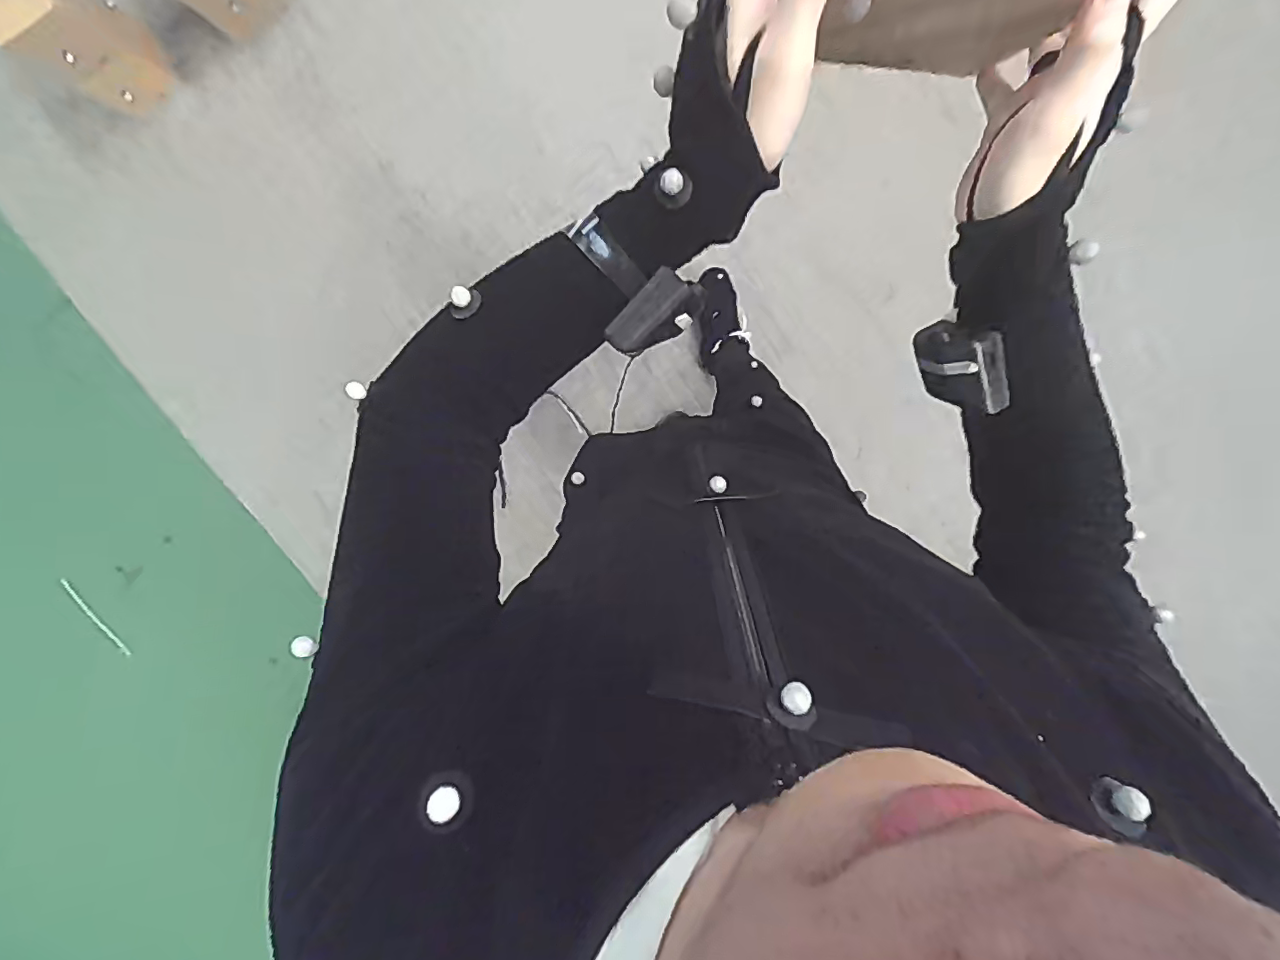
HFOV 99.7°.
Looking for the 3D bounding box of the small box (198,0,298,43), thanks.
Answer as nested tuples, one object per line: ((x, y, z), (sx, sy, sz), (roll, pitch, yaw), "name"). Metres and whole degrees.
((-0.988, -1.226, 1.312), (0.179, 0.176, 0.168), (-31, 100, 7), "small box")
